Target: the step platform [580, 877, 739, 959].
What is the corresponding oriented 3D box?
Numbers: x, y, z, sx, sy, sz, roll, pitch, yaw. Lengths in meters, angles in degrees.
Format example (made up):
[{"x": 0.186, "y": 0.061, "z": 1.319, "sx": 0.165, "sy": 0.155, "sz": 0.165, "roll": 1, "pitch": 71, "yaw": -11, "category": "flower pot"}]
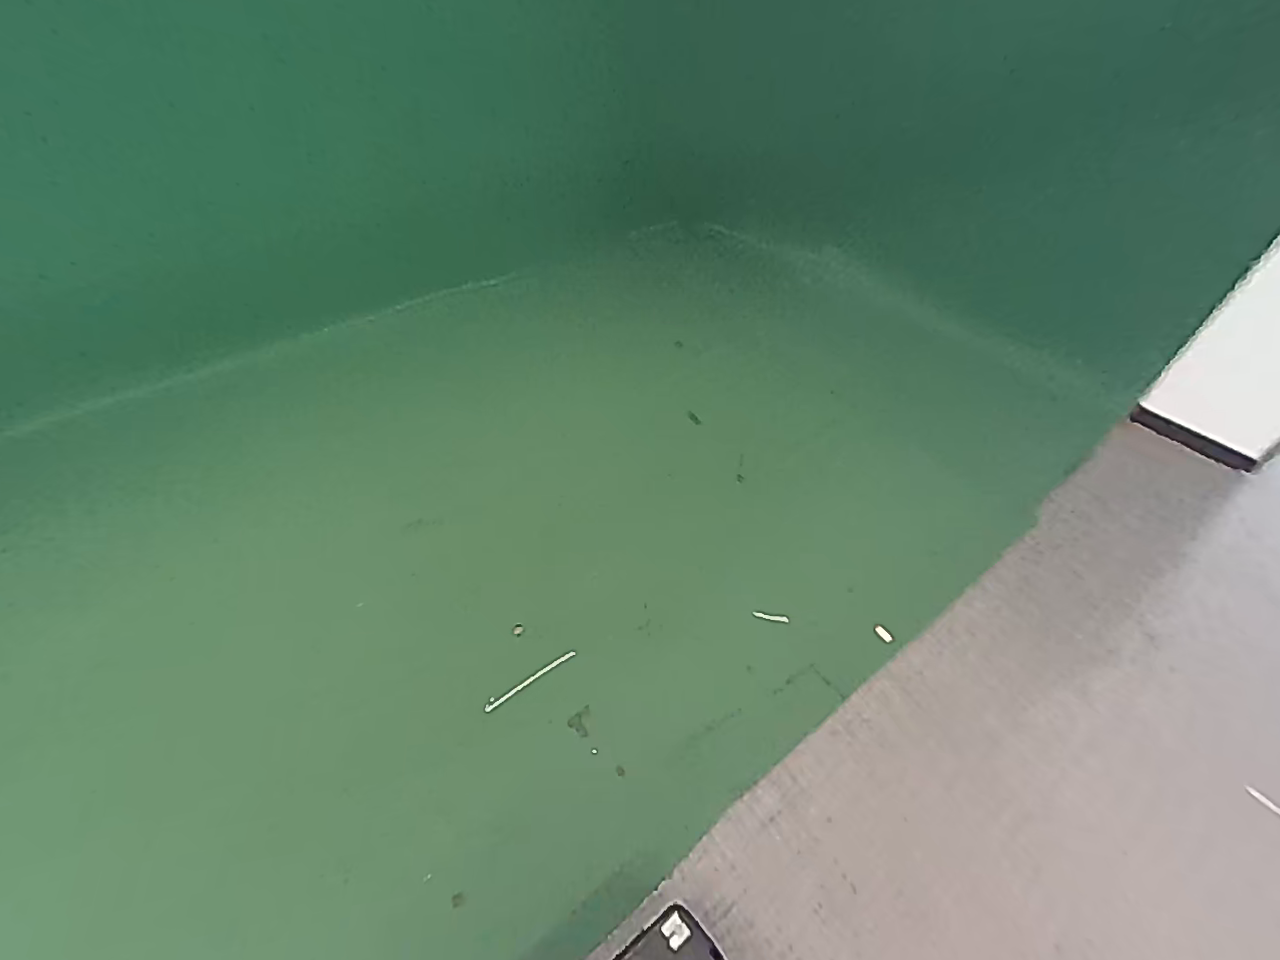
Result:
[{"x": -0.114, "y": 1.049, "z": 0.920, "sx": 0.684, "sy": 0.204, "sz": 0.286, "roll": -30, "pitch": 56, "yaw": -23, "category": "step platform"}]
